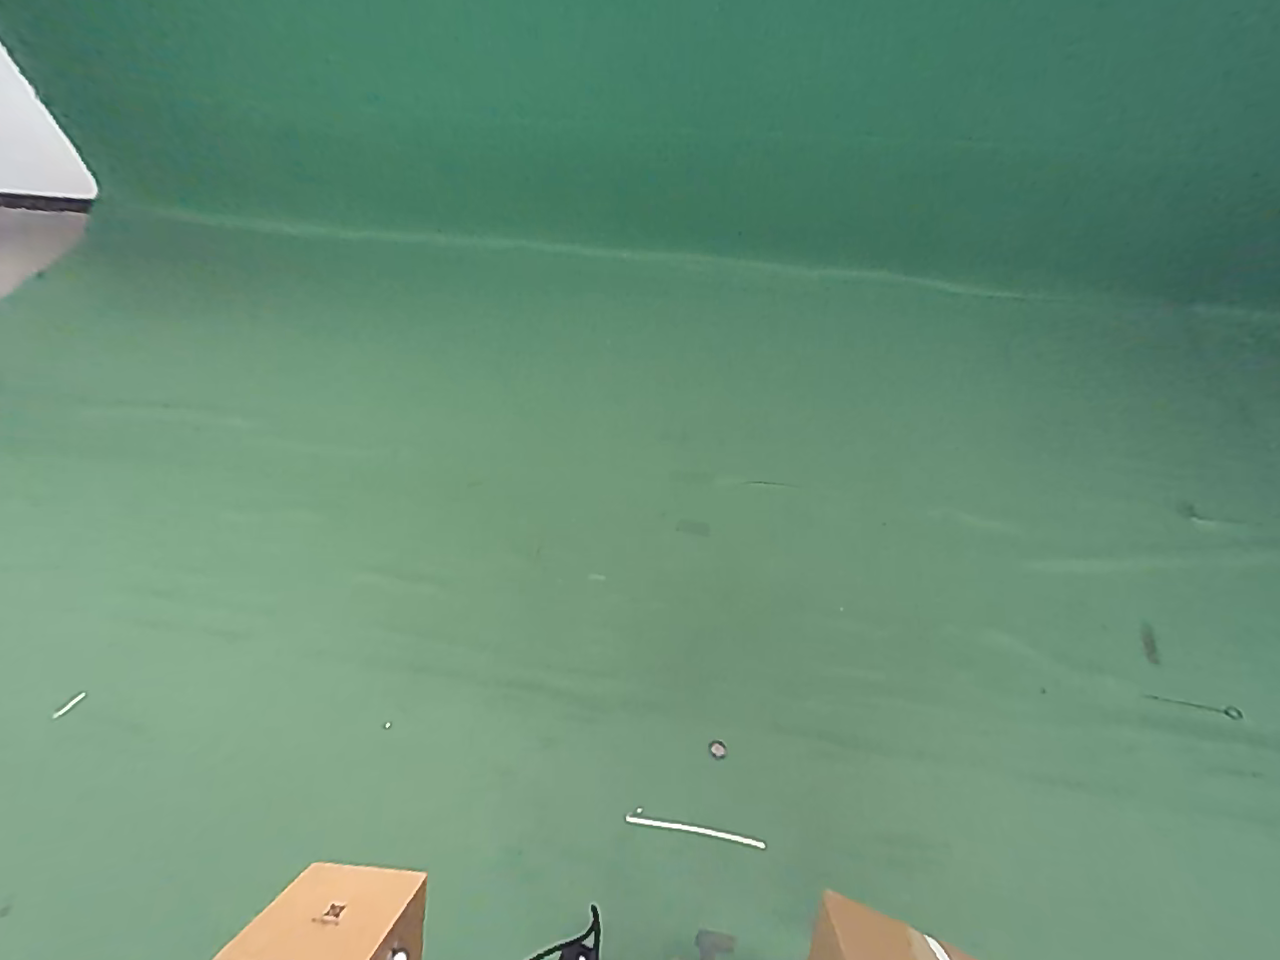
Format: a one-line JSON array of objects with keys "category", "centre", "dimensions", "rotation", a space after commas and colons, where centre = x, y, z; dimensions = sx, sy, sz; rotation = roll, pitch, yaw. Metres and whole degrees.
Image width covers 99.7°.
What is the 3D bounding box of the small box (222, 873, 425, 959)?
[{"category": "small box", "centre": [-0.382, 0.623, 0.651], "dimensions": [0.168, 0.179, 0.176], "rotation": [3, 86, 3]}]
